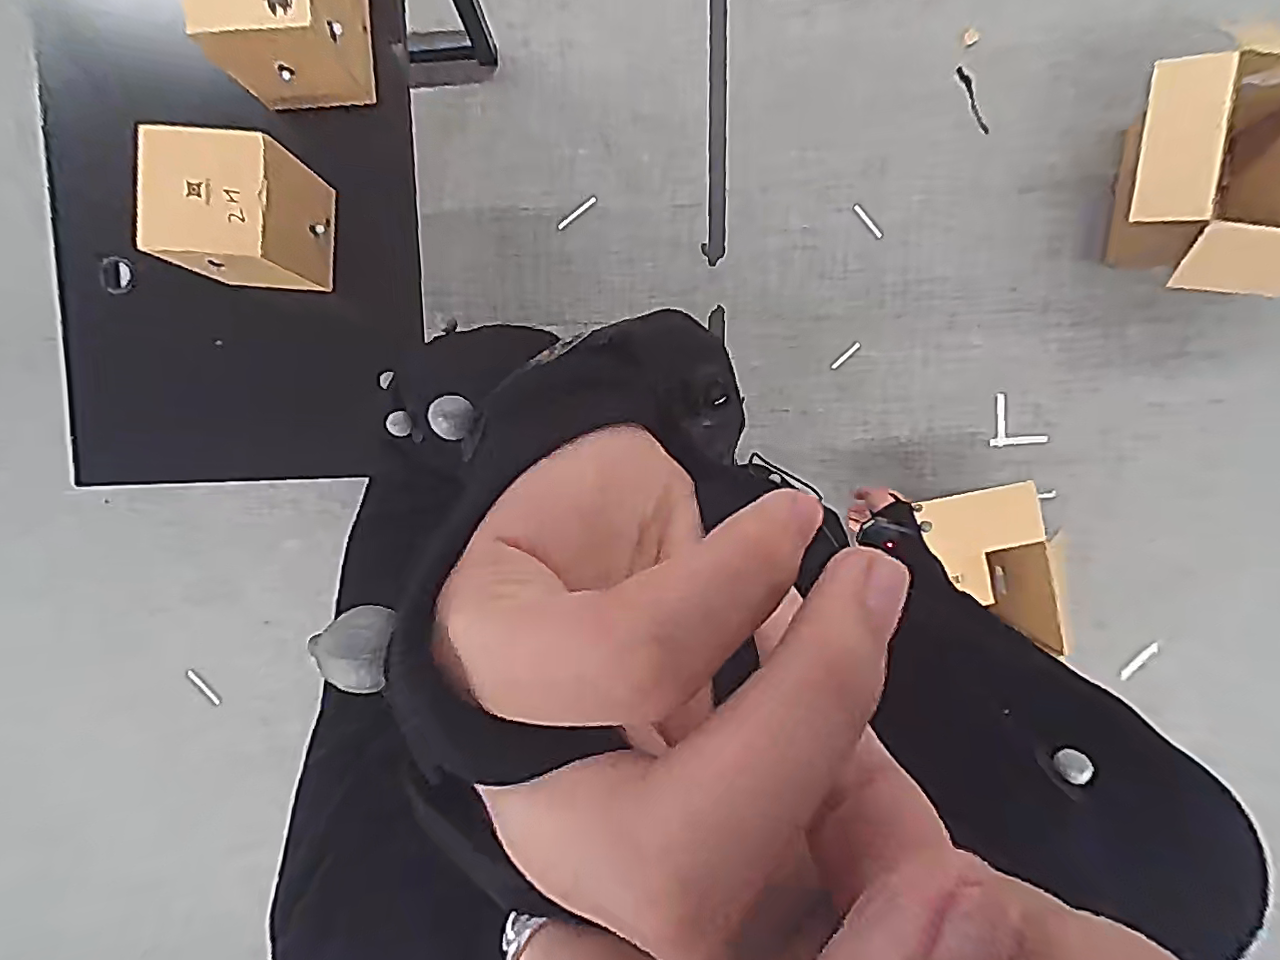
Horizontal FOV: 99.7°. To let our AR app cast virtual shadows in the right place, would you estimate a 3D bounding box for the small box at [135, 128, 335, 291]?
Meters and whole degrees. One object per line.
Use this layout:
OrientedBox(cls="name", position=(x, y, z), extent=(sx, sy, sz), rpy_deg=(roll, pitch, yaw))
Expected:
OrientedBox(cls="small box", position=(-0.593, -0.391, 0.809), extent=(0.179, 0.176, 0.168), rpy_deg=(4, 94, 0))
